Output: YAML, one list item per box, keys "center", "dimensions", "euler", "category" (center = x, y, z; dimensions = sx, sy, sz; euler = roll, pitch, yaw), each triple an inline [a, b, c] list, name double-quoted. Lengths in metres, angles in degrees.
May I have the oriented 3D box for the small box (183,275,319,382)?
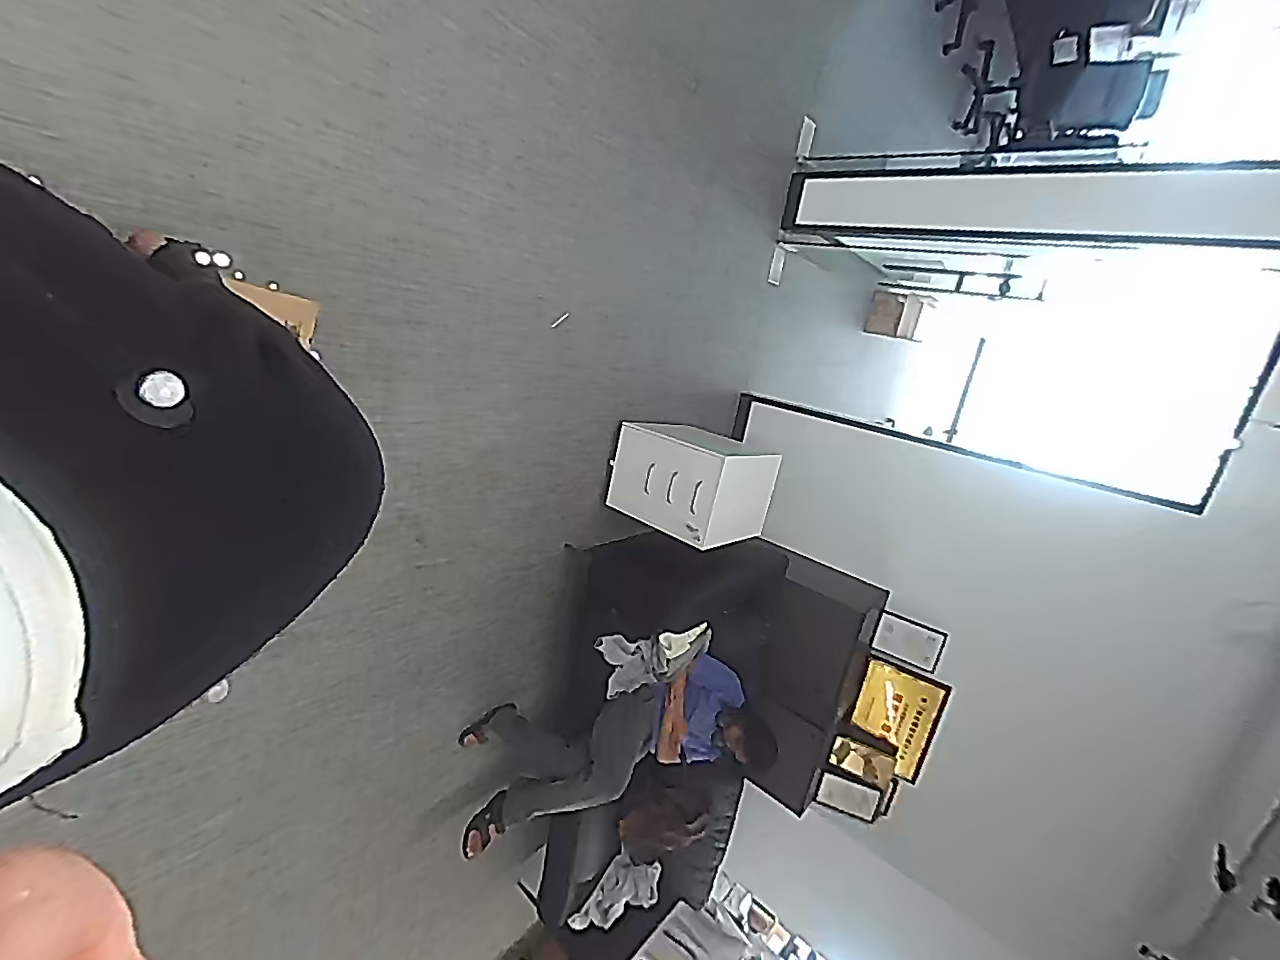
- center: [-0.799, -0.312, 1.112]
  dimensions: [0.179, 0.176, 0.168]
  euler: [3, 105, -53]
  category: "small box"

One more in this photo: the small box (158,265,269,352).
- center: [-0.929, -0.365, 1.200]
  dimensions: [0.179, 0.176, 0.168]
  euler: [1, 108, -53]
  category: "small box"
